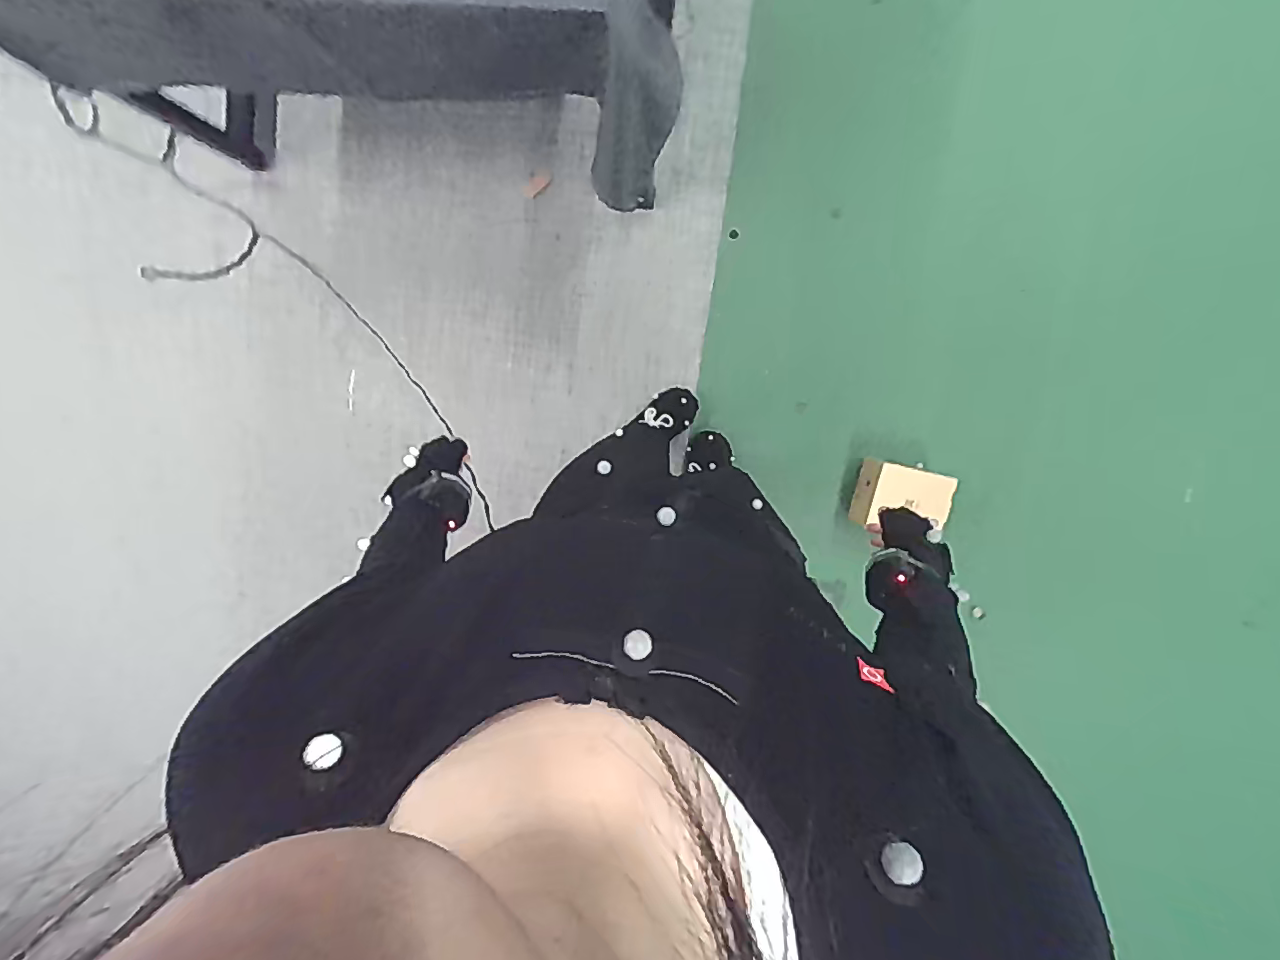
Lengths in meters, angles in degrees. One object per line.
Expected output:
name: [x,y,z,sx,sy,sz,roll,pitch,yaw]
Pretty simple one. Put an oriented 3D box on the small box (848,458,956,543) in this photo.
small box: [0.642,0.043,1.350,0.179,0.176,0.168,14,98,4]
